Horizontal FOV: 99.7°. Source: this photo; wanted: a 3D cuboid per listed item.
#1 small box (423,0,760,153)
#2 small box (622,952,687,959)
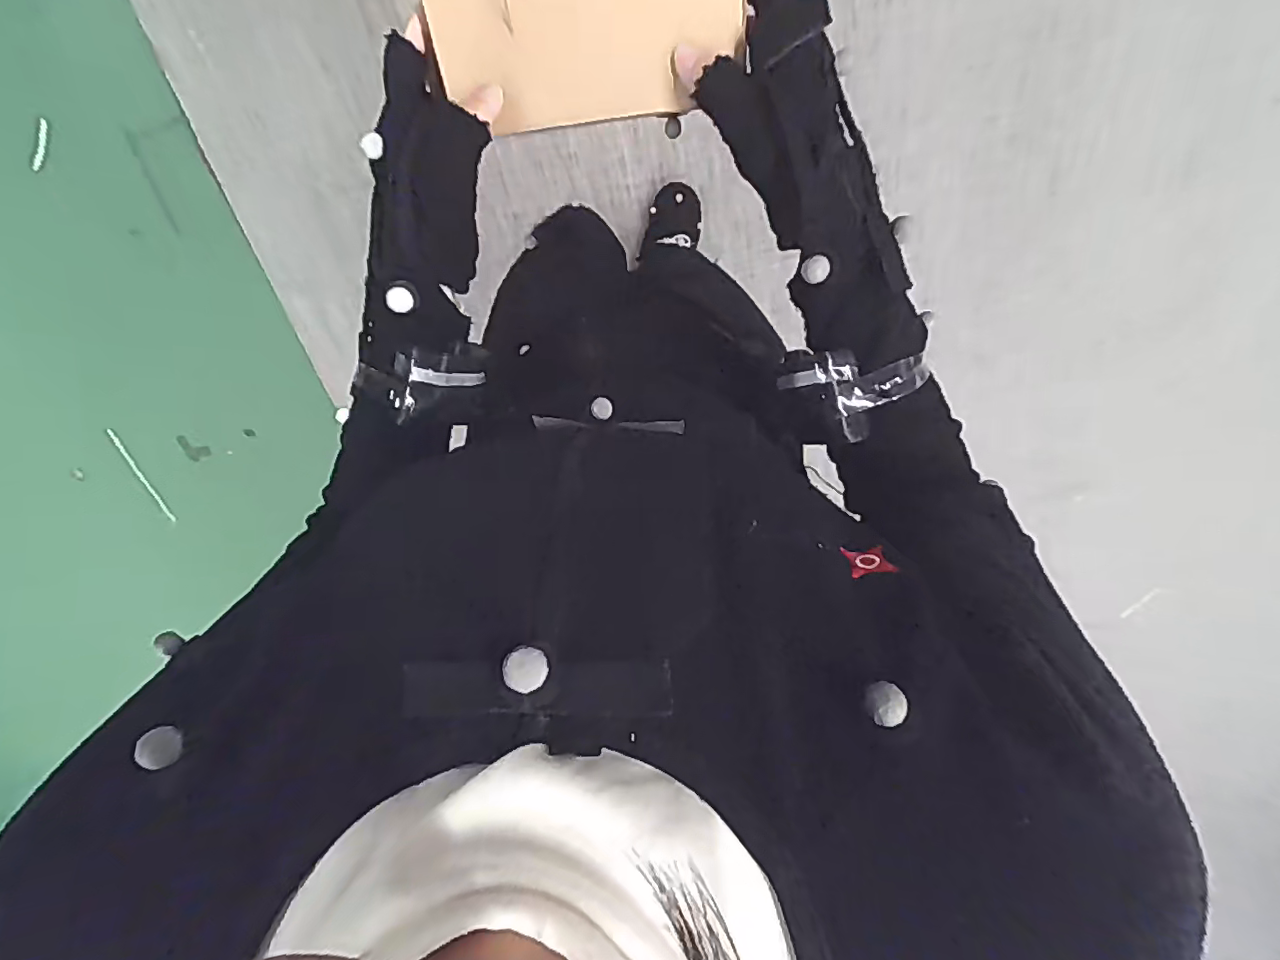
[{"bbox_3d":[-0.031,-0.320,0.336,0.179,0.176,0.168,-8,123,8],"label":"small box"},{"bbox_3d":[0.050,1.354,1.397,0.179,0.176,0.168,-11,121,8],"label":"small box"}]
